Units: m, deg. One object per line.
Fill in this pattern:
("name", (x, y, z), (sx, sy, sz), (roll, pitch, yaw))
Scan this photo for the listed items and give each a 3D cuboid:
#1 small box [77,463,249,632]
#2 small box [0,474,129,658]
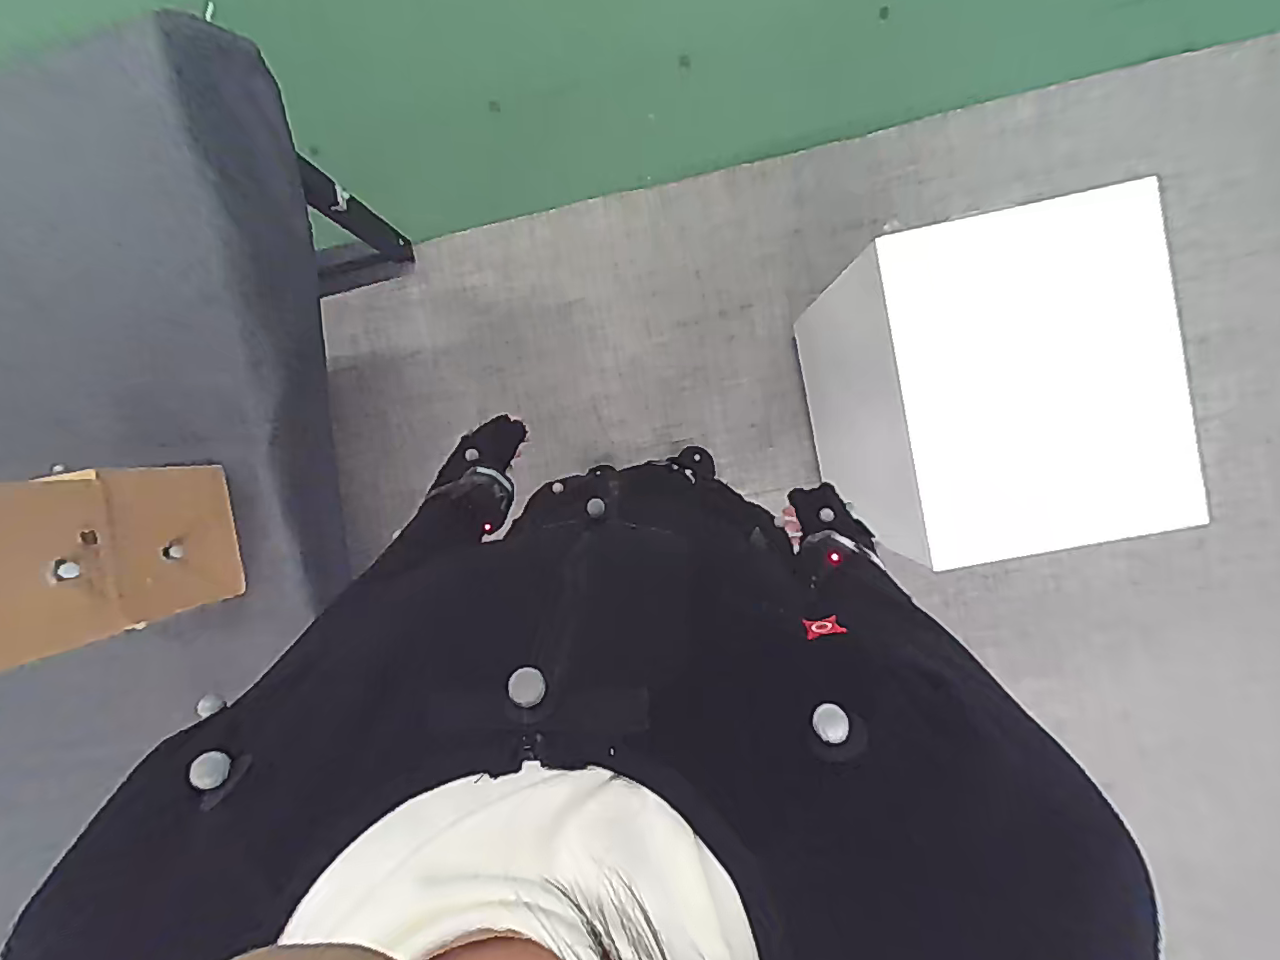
("small box", (-0.631, 0.079, 0.671), (0.168, 0.176, 0.179), (-9, 93, 5))
("small box", (-0.649, 0.088, 0.508), (0.179, 0.176, 0.168), (-9, 92, 7))
